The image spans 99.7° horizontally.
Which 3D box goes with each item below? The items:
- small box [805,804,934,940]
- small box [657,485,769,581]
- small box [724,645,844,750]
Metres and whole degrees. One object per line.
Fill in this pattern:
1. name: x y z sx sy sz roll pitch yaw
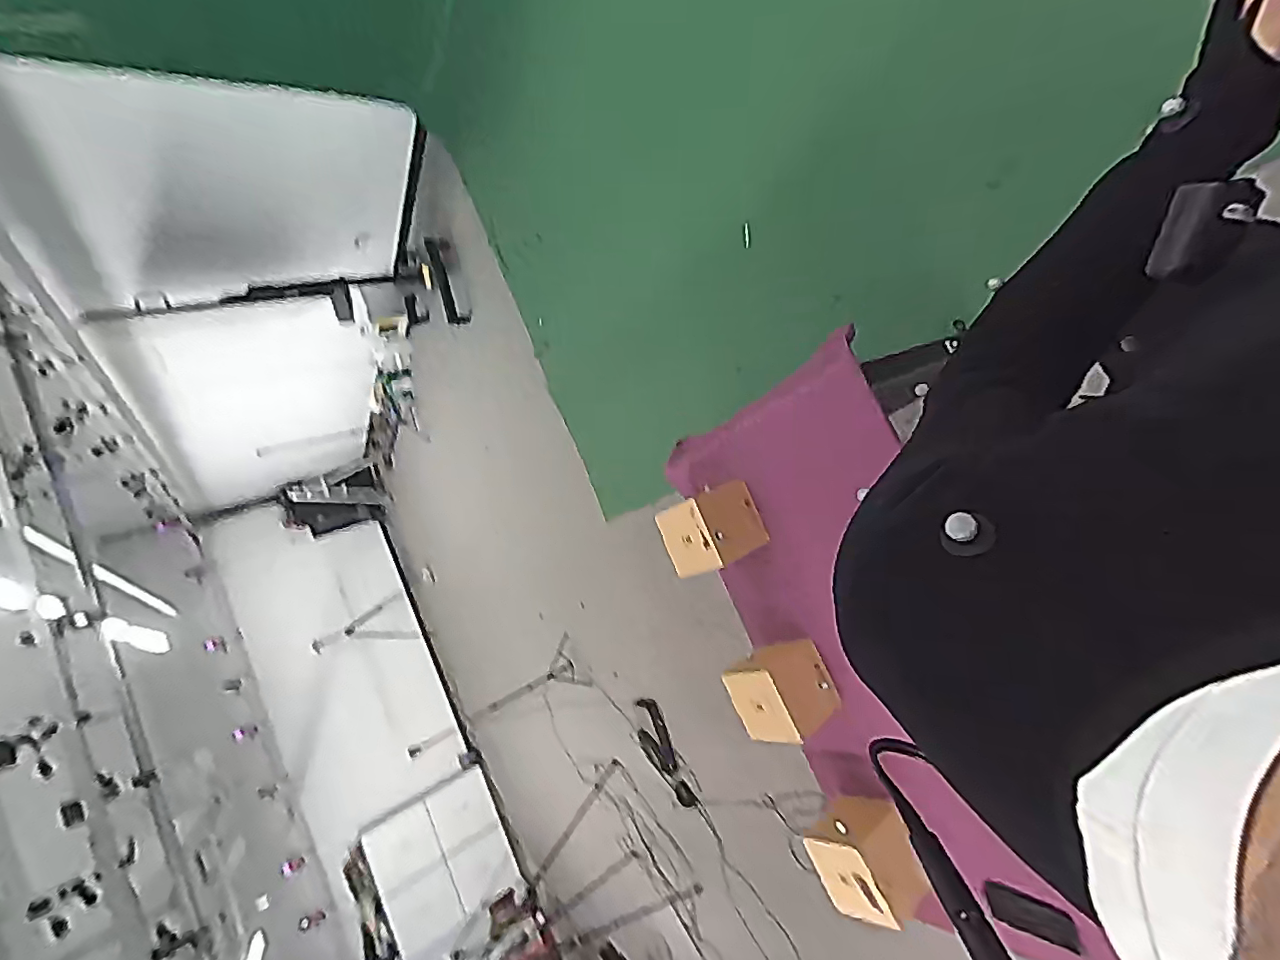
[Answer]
1. small box: 0.509 0.844 1.187 0.168 0.176 0.179 64 146 12
2. small box: 0.176 0.128 1.306 0.179 0.176 0.168 -32 80 55
3. small box: 0.336 0.505 1.267 0.179 0.176 0.168 -37 76 54
